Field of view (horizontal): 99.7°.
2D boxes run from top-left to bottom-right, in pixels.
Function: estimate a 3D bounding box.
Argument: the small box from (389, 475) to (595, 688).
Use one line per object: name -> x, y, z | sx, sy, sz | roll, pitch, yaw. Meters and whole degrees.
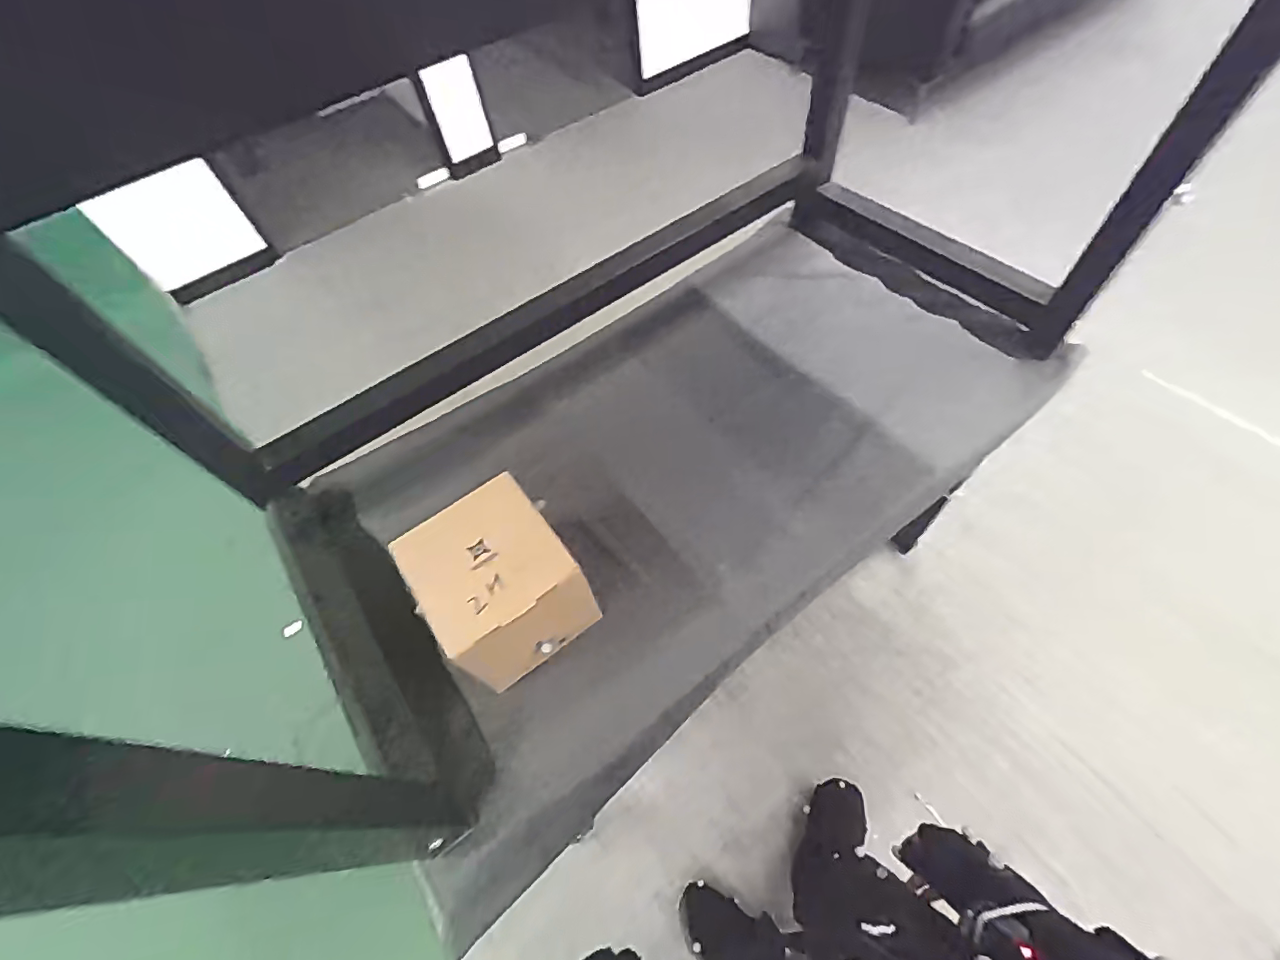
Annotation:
small box -> -0.179, 0.133, 0.690 | 0.168, 0.176, 0.179 | -35, 60, -15
